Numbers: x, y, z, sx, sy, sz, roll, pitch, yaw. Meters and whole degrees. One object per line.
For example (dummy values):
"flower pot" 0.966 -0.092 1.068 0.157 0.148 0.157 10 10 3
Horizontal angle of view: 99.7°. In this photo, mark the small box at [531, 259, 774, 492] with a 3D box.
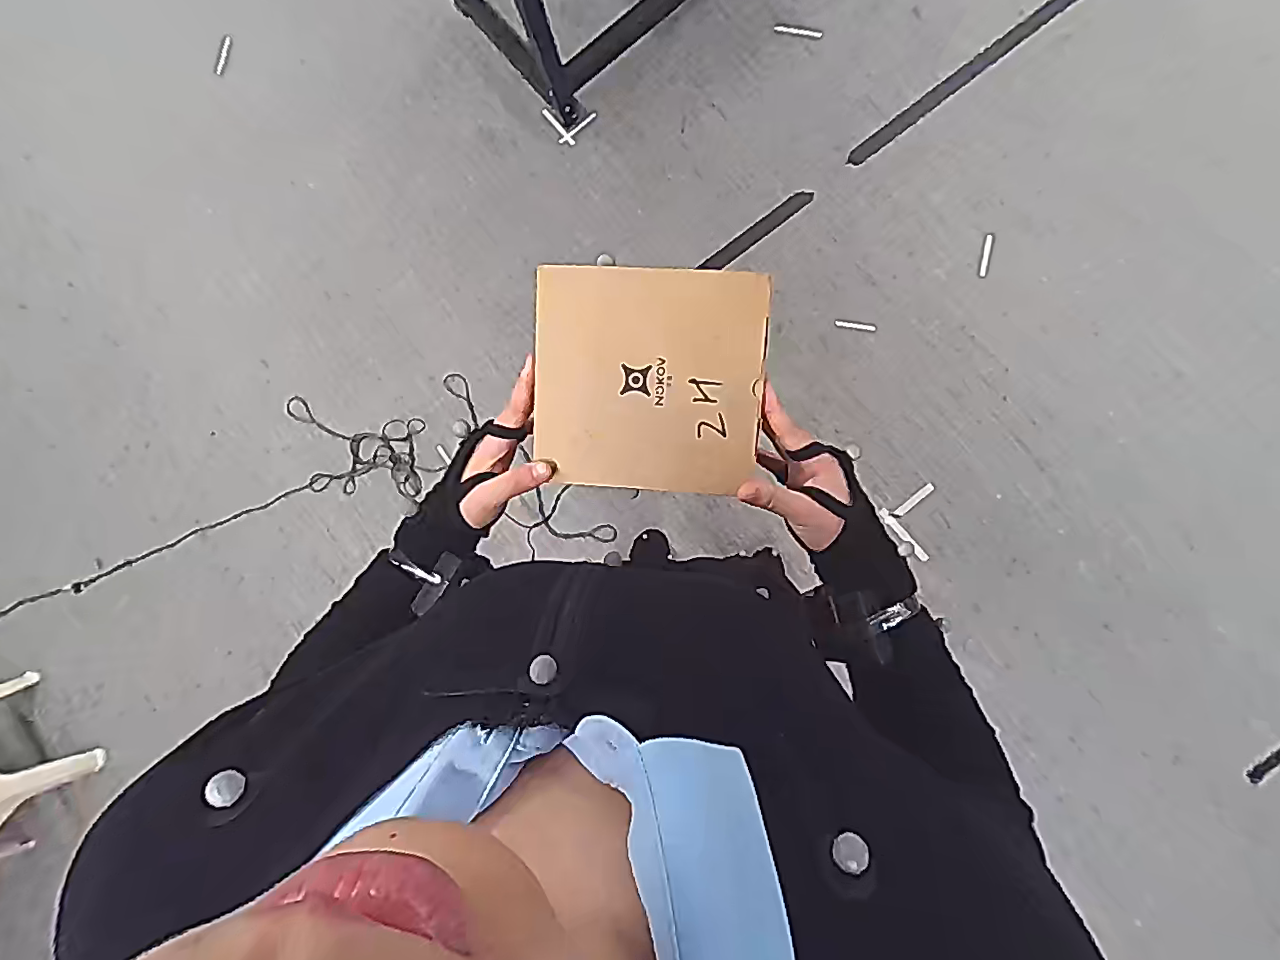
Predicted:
"small box" 0.013 -0.090 0.483 0.179 0.176 0.168 4 100 4
